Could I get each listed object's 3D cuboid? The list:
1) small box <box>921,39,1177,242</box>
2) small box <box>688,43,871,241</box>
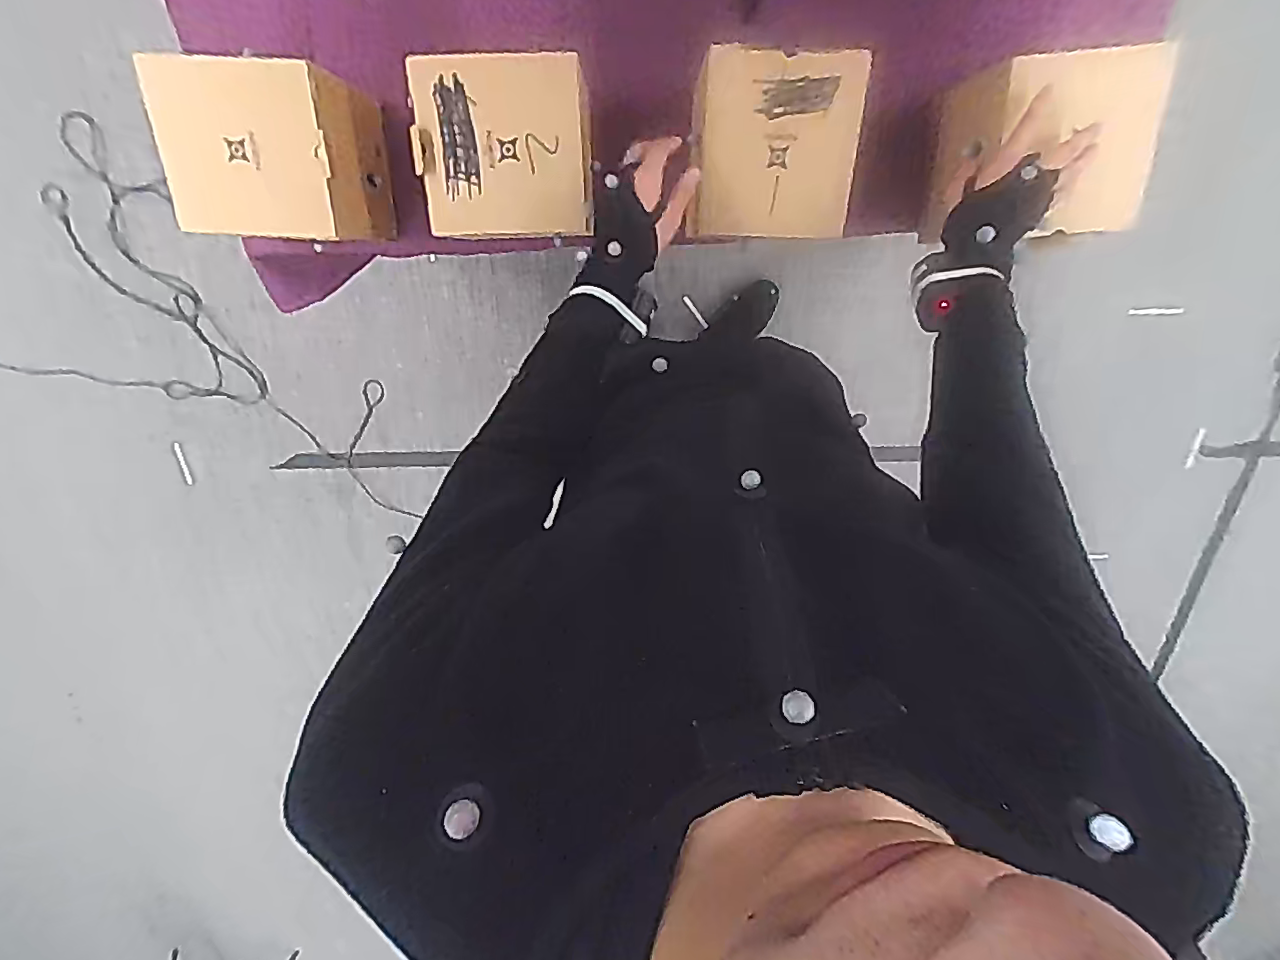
[{"bbox_3d":[0.462,-0.386,0.646,0.168,0.176,0.179,-4,113,3],"label":"small box"},{"bbox_3d":[0.149,-0.385,0.647,0.168,0.176,0.179,2,114,-1],"label":"small box"}]
